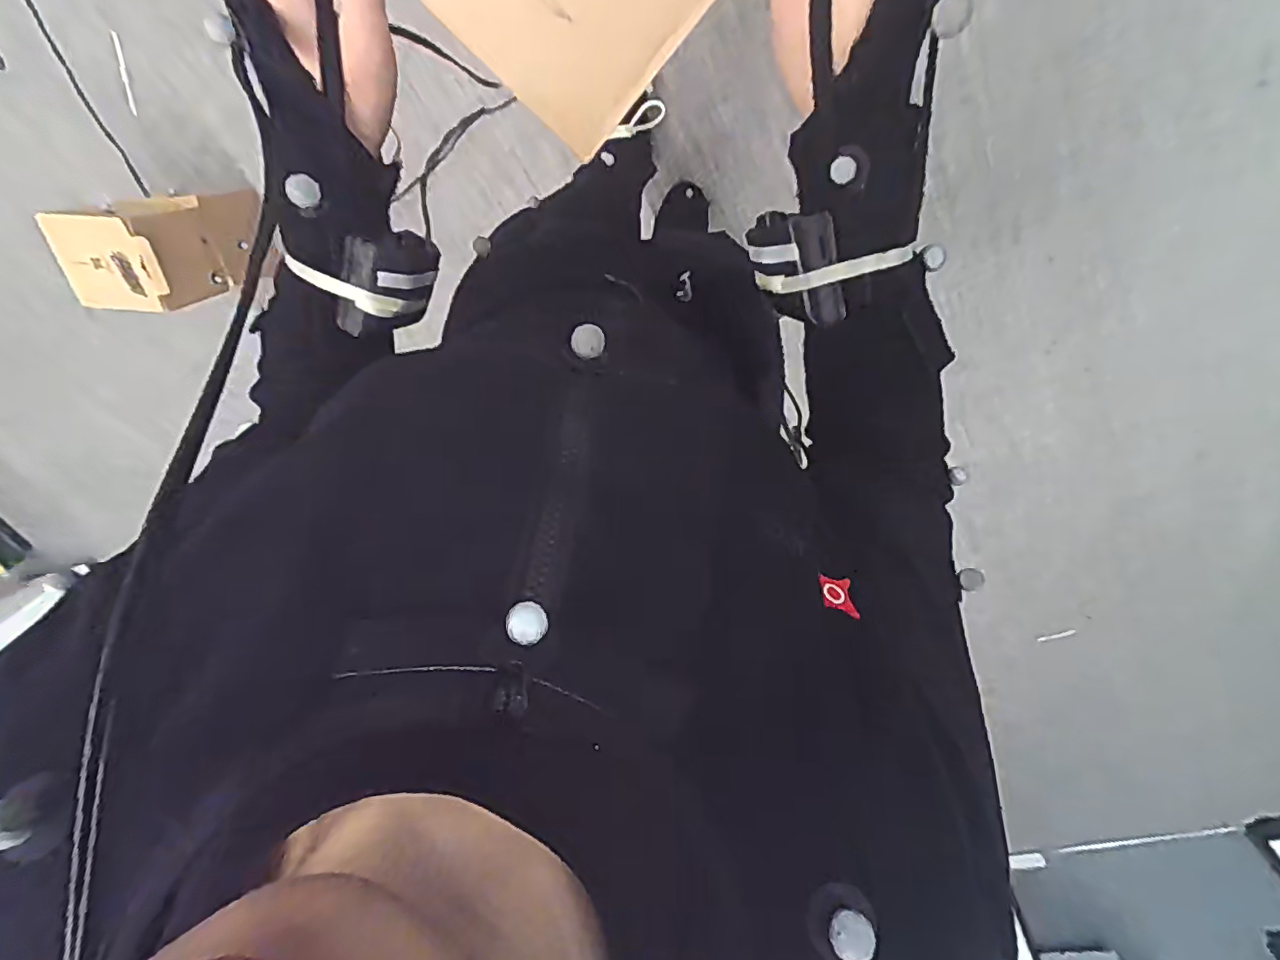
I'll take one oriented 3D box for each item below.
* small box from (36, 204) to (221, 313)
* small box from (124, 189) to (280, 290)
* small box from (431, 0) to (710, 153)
[{"bbox_3d":[-0.964,-0.433,1.046,0.179,0.176,0.168,5,123,4],"label":"small box"},{"bbox_3d":[-0.938,-0.526,1.180,0.168,0.176,0.179,1,123,6],"label":"small box"},{"bbox_3d":[-0.027,-0.324,0.279,0.168,0.176,0.179,34,129,-27],"label":"small box"}]
